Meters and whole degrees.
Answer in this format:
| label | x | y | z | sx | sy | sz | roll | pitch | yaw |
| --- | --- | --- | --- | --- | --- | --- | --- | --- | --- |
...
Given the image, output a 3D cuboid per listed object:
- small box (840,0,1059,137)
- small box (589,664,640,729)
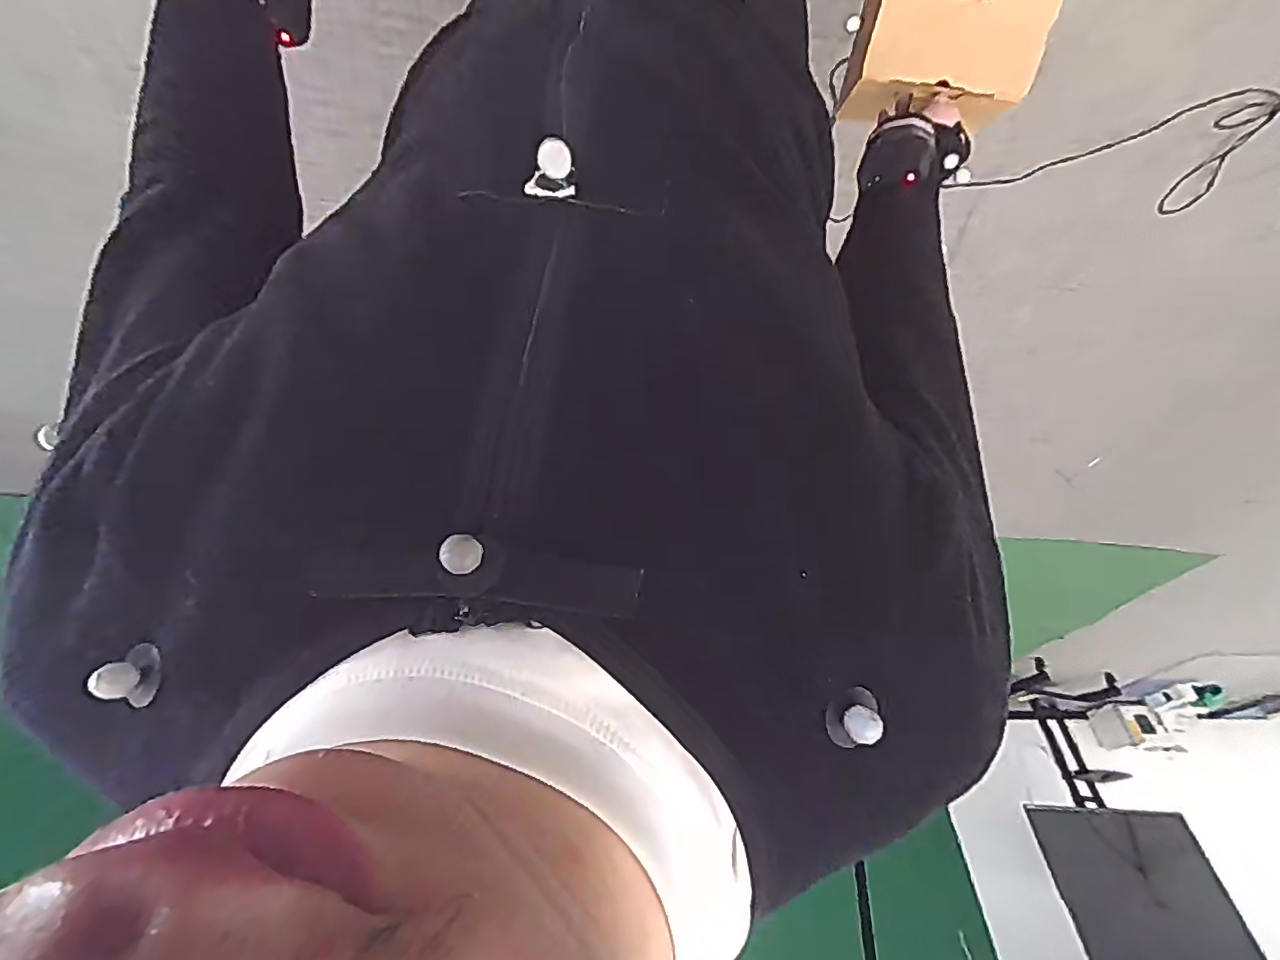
| label | x | y | z | sx | sy | sz | roll | pitch | yaw |
| --- | --- | --- | --- | --- | --- | --- | --- | --- | --- |
| small box | 0.332 | -0.500 | 0.591 | 0.168 | 0.176 | 0.179 | 13 | 112 | 5 |
| small box | -0.087 | 0.737 | 1.843 | 0.168 | 0.176 | 0.179 | 0 | 142 | -1 |
